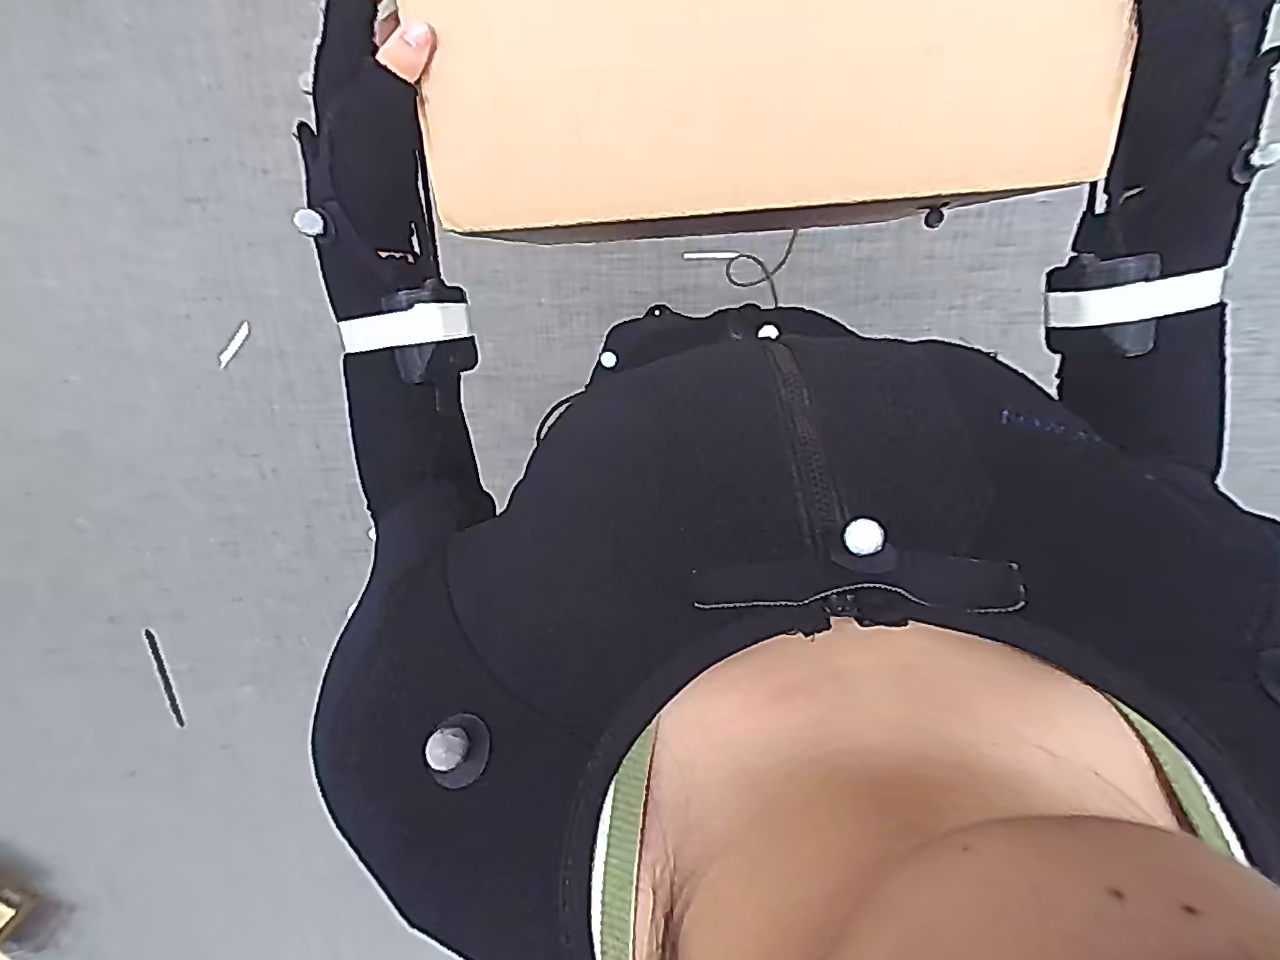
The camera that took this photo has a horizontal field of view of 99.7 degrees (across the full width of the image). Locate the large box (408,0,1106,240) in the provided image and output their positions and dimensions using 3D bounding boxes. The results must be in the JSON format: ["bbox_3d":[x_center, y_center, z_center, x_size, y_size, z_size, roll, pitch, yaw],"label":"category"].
[{"bbox_3d":[0.065,-0.372,0.425,0.408,0.320,0.320,-3,112,2],"label":"large box"}]
